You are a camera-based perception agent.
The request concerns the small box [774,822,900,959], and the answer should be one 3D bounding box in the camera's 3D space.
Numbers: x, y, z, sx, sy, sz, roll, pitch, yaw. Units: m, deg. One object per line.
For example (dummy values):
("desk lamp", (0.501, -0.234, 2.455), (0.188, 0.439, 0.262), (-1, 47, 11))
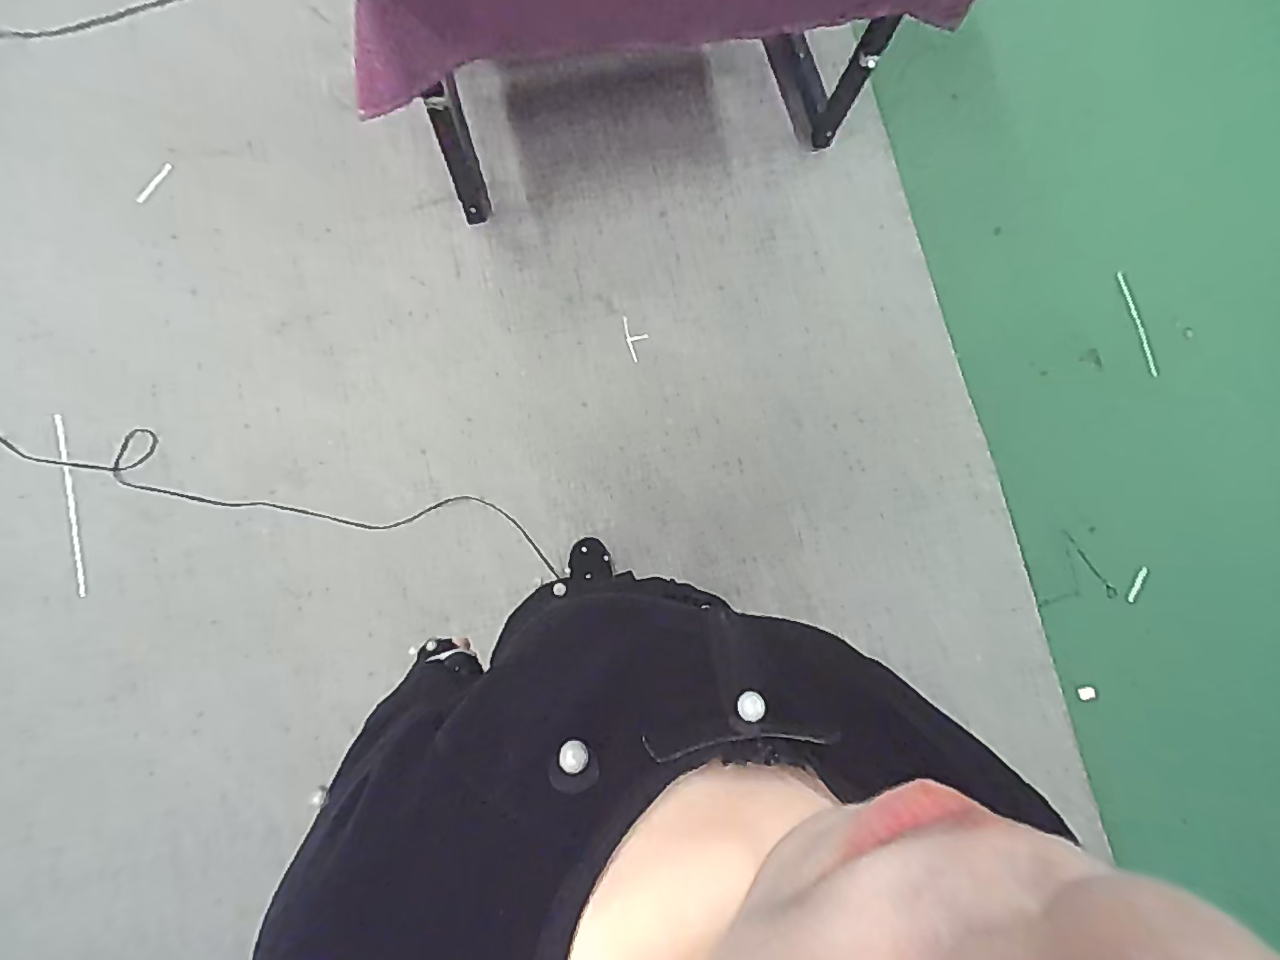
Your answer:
("small box", (0.379, 0.821, 1.067), (0.168, 0.176, 0.179), (-9, 85, -5))
